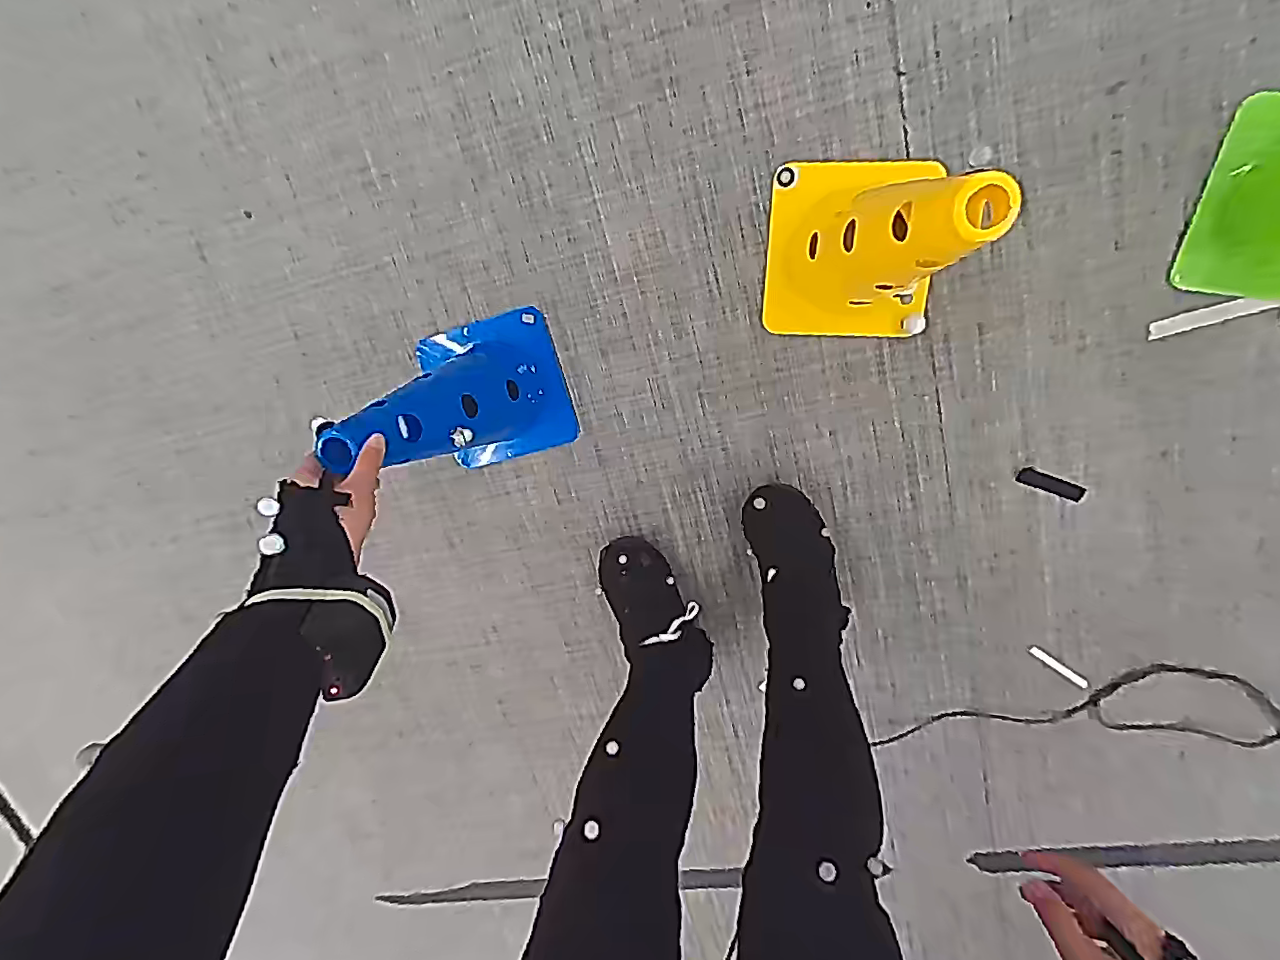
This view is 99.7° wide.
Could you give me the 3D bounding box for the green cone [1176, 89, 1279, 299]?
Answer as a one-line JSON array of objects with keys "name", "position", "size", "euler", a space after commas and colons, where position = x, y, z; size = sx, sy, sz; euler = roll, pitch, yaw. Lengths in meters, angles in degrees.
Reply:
[{"name": "green cone", "position": [0.704, -0.251, 0.431], "size": [0.200, 0.368, 0.202], "euler": [8, 110, 5]}]
